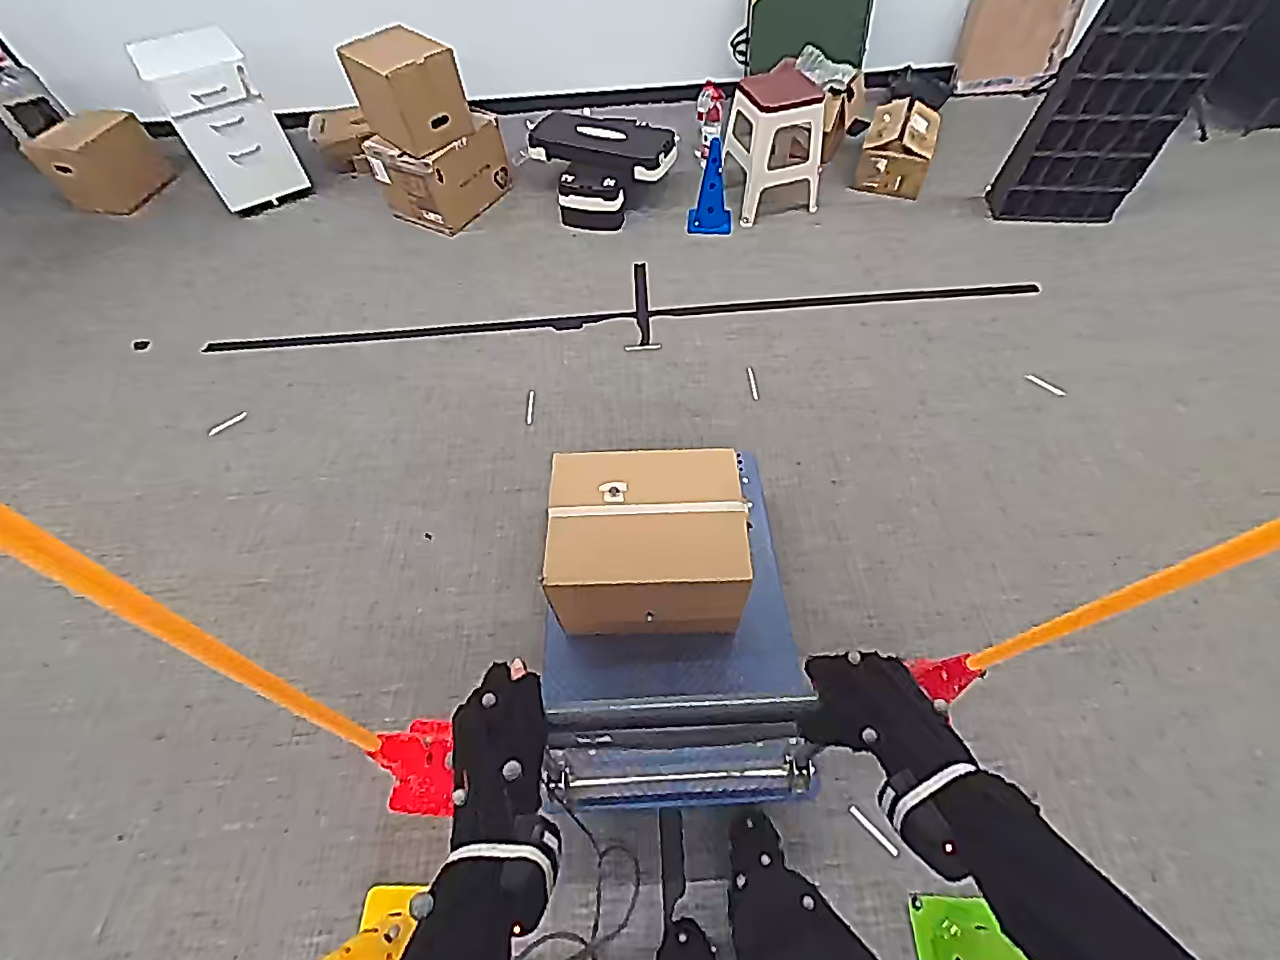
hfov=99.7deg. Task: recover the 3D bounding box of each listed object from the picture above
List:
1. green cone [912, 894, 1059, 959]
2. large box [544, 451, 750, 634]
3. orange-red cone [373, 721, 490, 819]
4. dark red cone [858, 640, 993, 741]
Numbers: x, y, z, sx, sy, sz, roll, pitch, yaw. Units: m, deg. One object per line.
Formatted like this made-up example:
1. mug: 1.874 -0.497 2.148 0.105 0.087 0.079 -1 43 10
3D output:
1. green cone: 0.650 0.842 0.916 0.202 0.368 0.200 0 56 2
2. large box: 0.017 0.154 1.241 0.408 0.320 0.320 -2 56 2
3. orange-red cone: -0.477 0.590 1.153 0.198 0.360 0.199 3 55 4
4. dark red cone: 0.646 0.431 1.174 0.201 0.394 0.202 -3 56 -1
